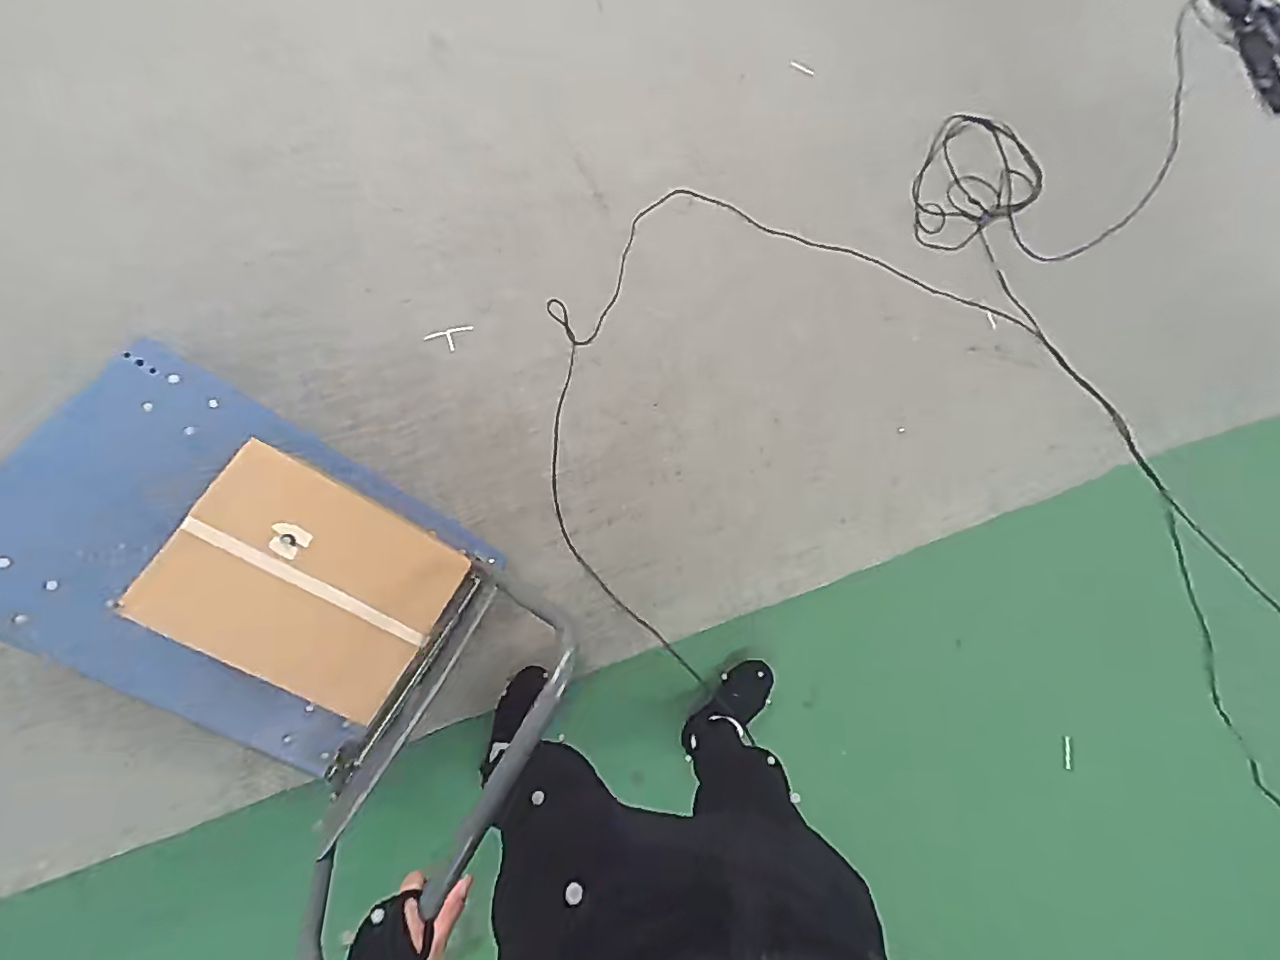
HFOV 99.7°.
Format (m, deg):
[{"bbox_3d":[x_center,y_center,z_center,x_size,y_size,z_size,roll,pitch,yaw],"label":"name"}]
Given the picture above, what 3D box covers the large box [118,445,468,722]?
[{"bbox_3d":[-0.583,0.183,1.014,0.408,0.320,0.320,33,74,-15],"label":"large box"}]
